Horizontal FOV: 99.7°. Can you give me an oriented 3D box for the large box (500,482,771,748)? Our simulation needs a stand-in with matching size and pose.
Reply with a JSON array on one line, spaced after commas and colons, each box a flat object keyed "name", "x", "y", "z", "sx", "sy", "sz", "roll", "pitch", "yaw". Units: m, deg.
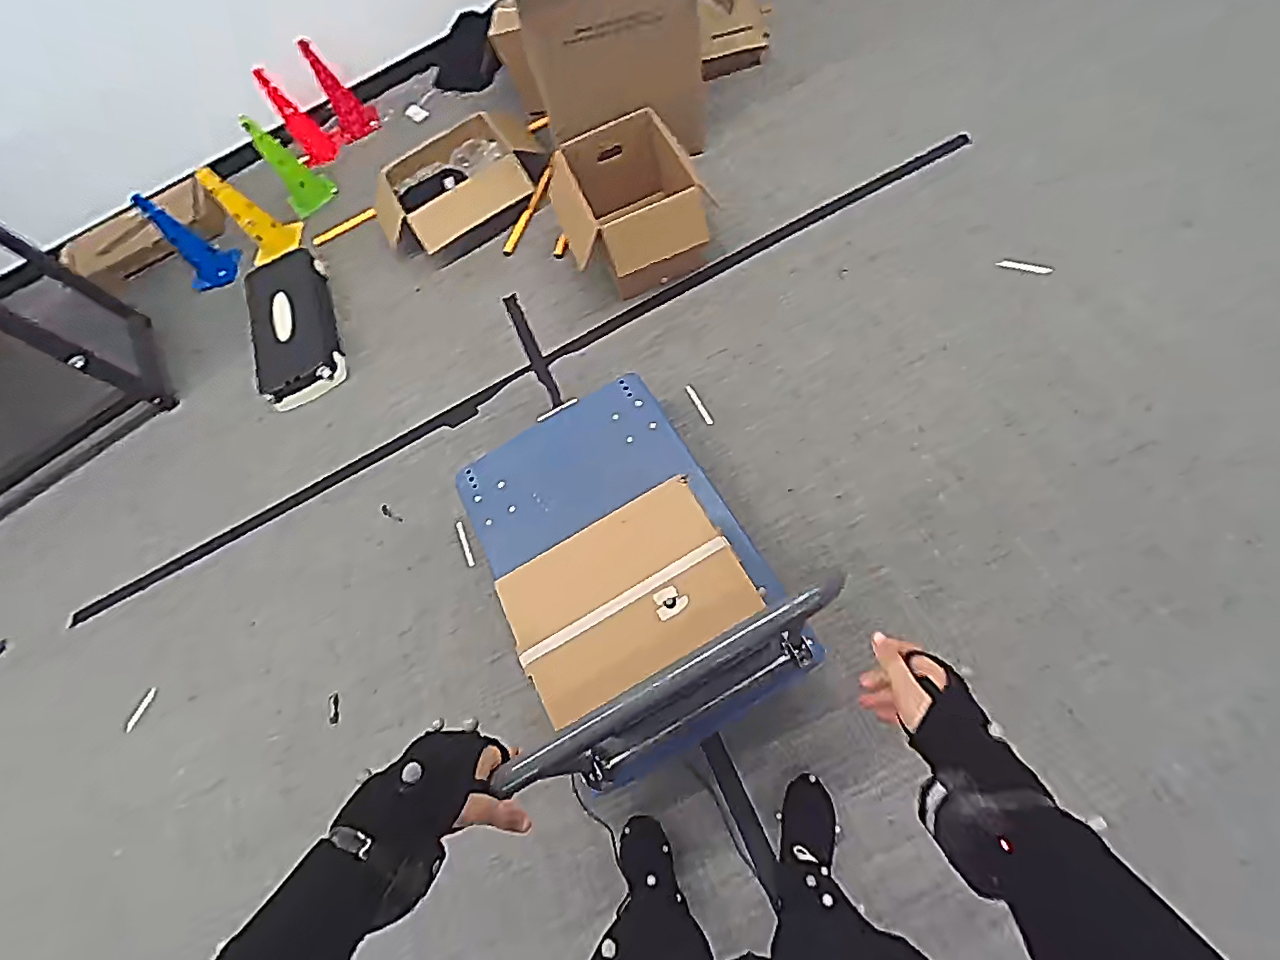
[{"name": "large box", "x": 0.004, "y": 0.278, "z": 1.080, "sx": 0.408, "sy": 0.320, "sz": 0.320, "roll": -31, "pitch": 65, "yaw": -3}]
